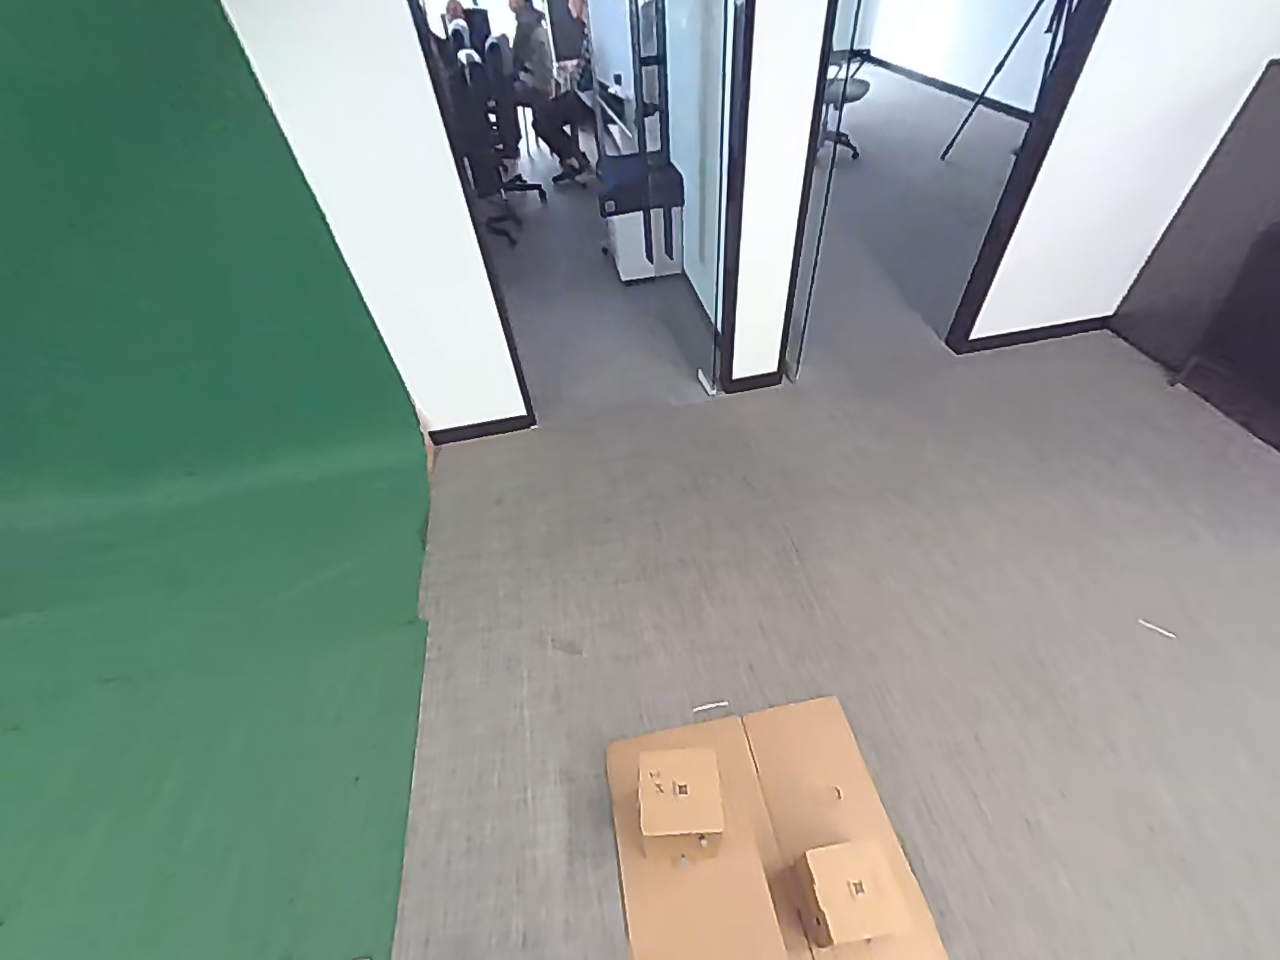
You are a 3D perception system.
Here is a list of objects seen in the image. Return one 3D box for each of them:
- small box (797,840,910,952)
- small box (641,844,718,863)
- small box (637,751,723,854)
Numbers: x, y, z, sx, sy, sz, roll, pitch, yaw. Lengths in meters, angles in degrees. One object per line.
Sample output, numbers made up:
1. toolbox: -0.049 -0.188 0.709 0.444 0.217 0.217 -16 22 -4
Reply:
1. small box: 0.464 0.934 1.211 0.179 0.176 0.168 -9 47 -3
2. small box: 0.092 0.835 1.337 0.179 0.176 0.168 -3 46 1
3. small box: 0.086 0.725 1.213 0.179 0.176 0.168 -4 46 2
